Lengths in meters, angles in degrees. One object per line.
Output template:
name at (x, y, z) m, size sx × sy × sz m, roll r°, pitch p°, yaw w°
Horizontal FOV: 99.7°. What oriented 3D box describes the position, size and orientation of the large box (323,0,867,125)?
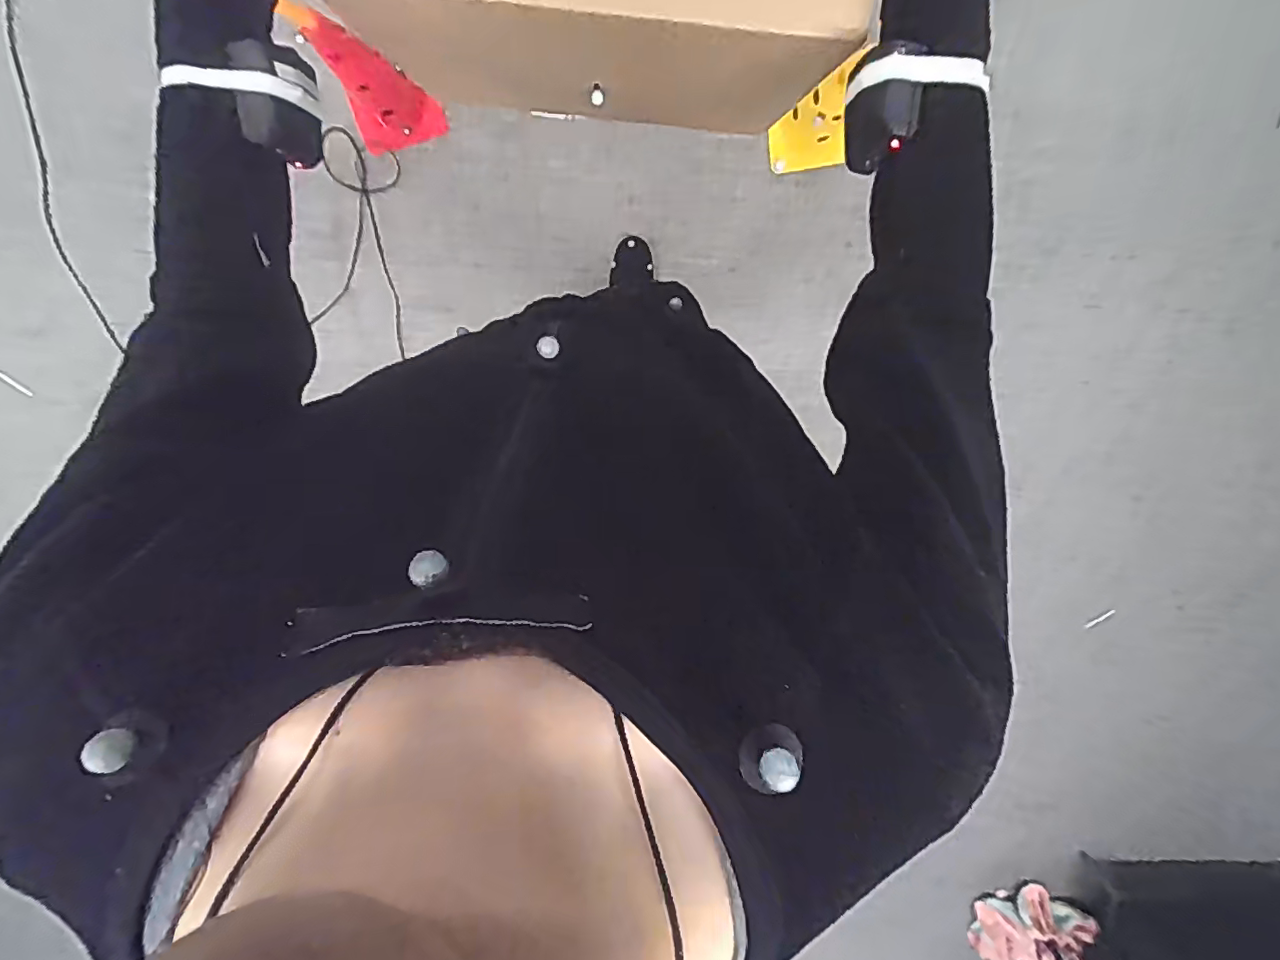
large box at (-0.026, -0.532, 0.475) m, size 0.408 × 0.320 × 0.320 m, roll 3°, pitch 111°, yaw -3°
